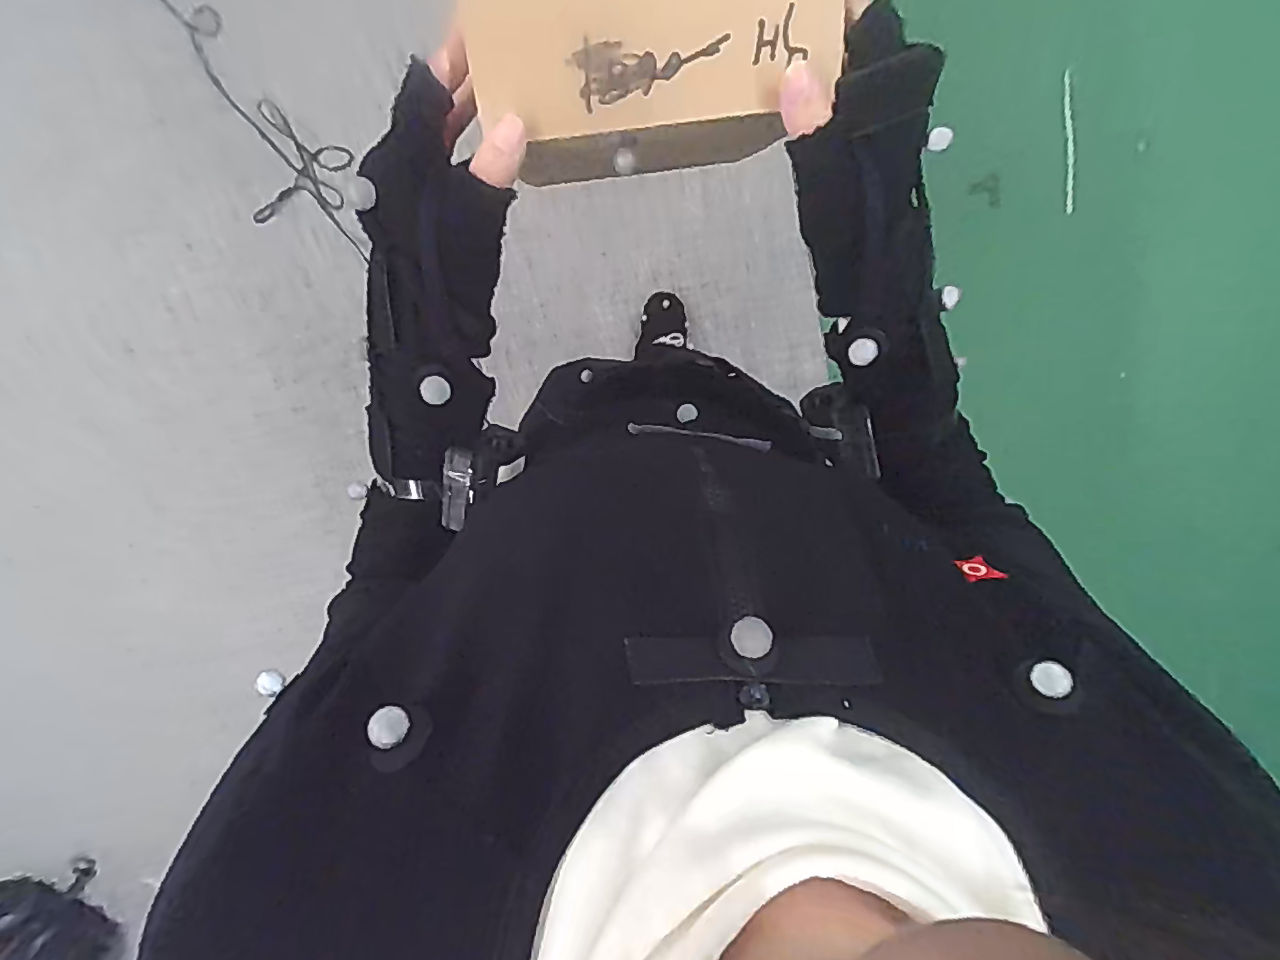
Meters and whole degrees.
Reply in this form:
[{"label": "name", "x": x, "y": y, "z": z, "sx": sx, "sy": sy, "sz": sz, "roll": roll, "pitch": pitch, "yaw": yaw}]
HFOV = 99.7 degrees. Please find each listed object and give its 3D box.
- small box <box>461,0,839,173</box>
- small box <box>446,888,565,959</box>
[{"label": "small box", "x": -0.006, "y": -0.283, "z": 0.287, "sx": 0.168, "sy": 0.176, "sz": 0.179, "roll": -8, "pitch": 112, "yaw": -1}, {"label": "small box", "x": -0.235, "y": 0.854, "z": 0.940, "sx": 0.168, "sy": 0.176, "sz": 0.179, "roll": -13, "pitch": 105, "yaw": 0}]
